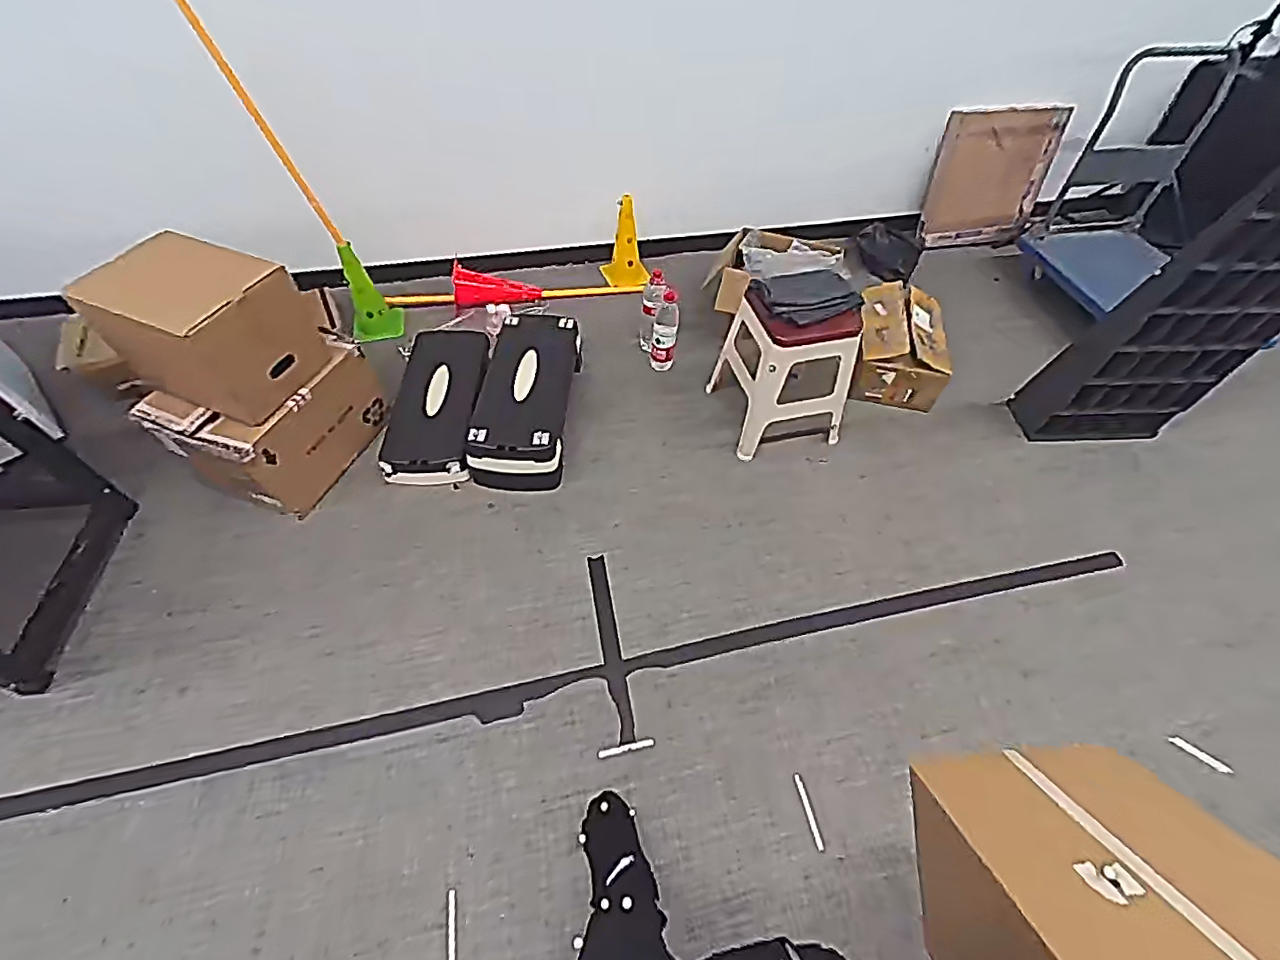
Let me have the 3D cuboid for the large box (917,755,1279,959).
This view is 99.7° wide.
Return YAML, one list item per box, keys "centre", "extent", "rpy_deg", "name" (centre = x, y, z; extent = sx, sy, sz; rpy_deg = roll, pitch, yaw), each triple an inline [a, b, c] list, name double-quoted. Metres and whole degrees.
- centre: [0.593, 0.603, 0.671]
  extent: [0.320, 0.408, 0.320]
  rpy_deg: [-6, 93, 5]
  name: "large box"
